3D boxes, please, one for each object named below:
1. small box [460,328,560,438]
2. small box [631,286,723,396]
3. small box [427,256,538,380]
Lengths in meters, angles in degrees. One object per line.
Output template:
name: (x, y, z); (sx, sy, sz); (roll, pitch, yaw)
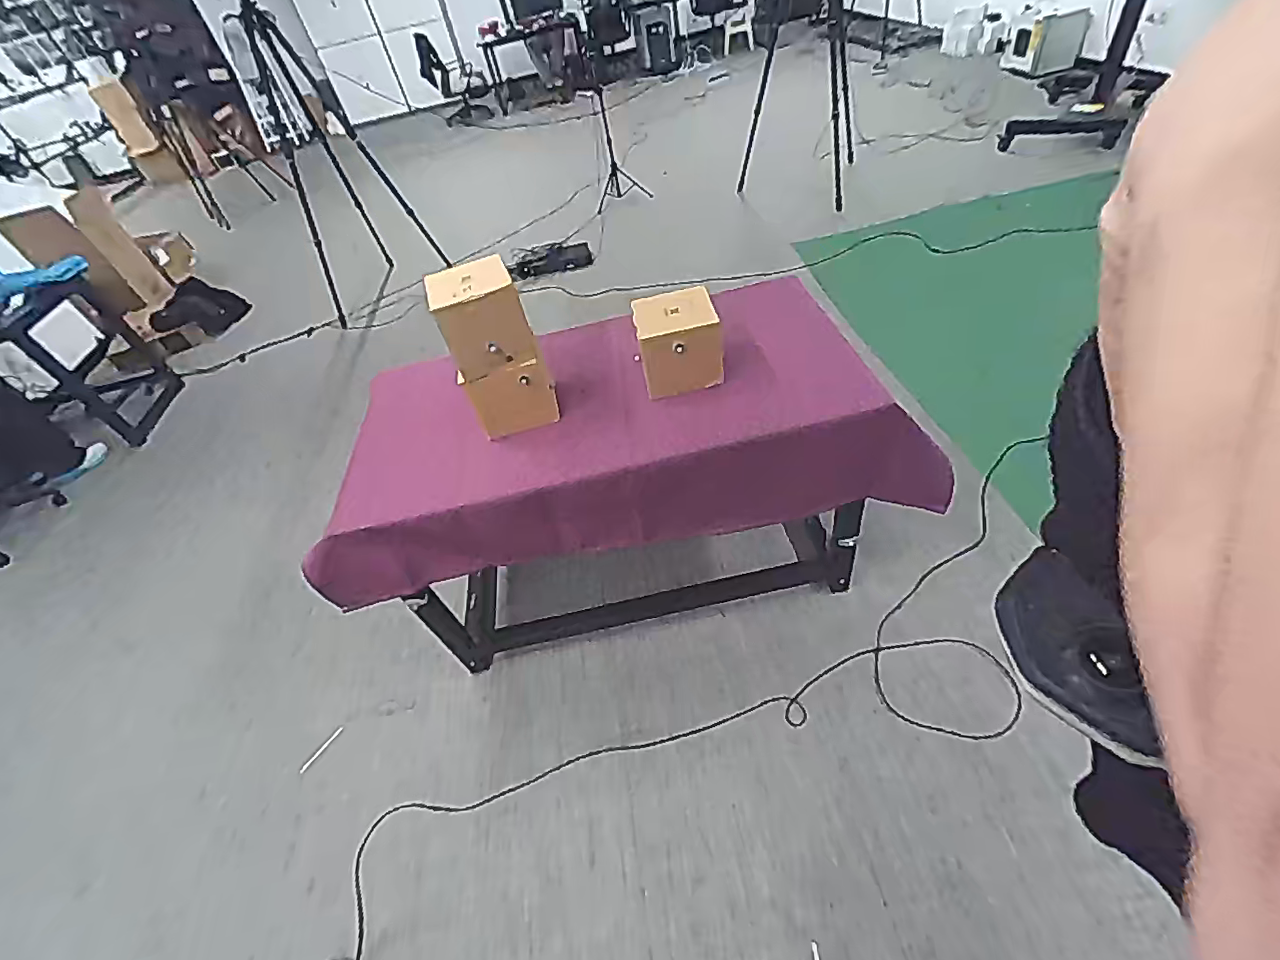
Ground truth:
small box: (-0.299, -0.222, 1.253); (0.179, 0.176, 0.168); (-16, 45, -2)
small box: (0.086, -0.314, 1.240); (0.179, 0.176, 0.168); (-12, 46, 3)
small box: (-0.330, -0.341, 1.143); (0.168, 0.176, 0.179); (-22, 46, -7)
